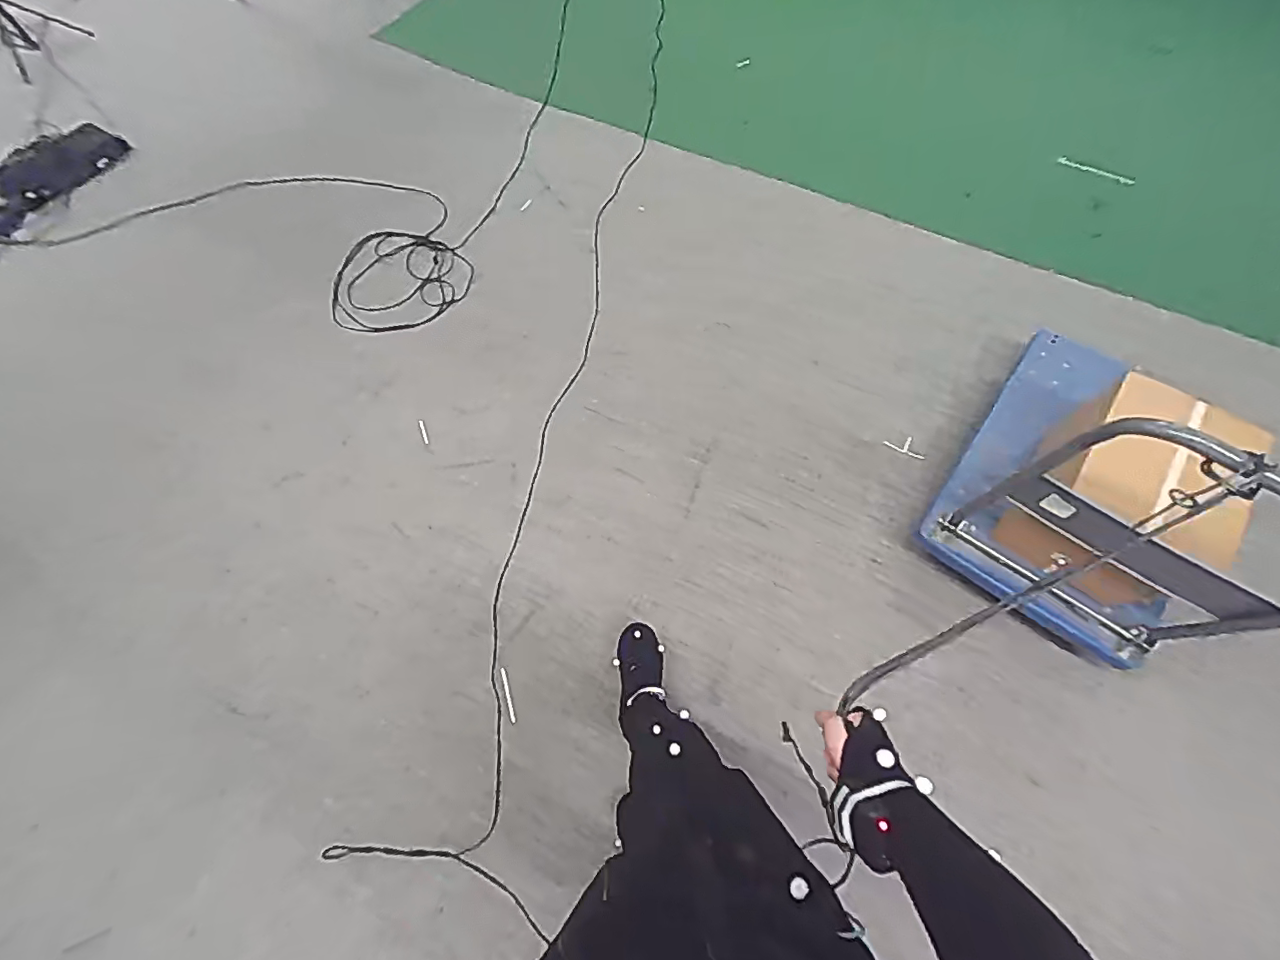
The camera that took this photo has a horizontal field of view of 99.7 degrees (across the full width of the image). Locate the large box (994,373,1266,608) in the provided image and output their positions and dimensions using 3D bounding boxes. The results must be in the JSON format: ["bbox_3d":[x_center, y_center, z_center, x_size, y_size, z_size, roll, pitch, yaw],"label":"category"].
[{"bbox_3d":[1.152,0.033,1.304,0.320,0.320,0.408,34,70,15],"label":"large box"}]
